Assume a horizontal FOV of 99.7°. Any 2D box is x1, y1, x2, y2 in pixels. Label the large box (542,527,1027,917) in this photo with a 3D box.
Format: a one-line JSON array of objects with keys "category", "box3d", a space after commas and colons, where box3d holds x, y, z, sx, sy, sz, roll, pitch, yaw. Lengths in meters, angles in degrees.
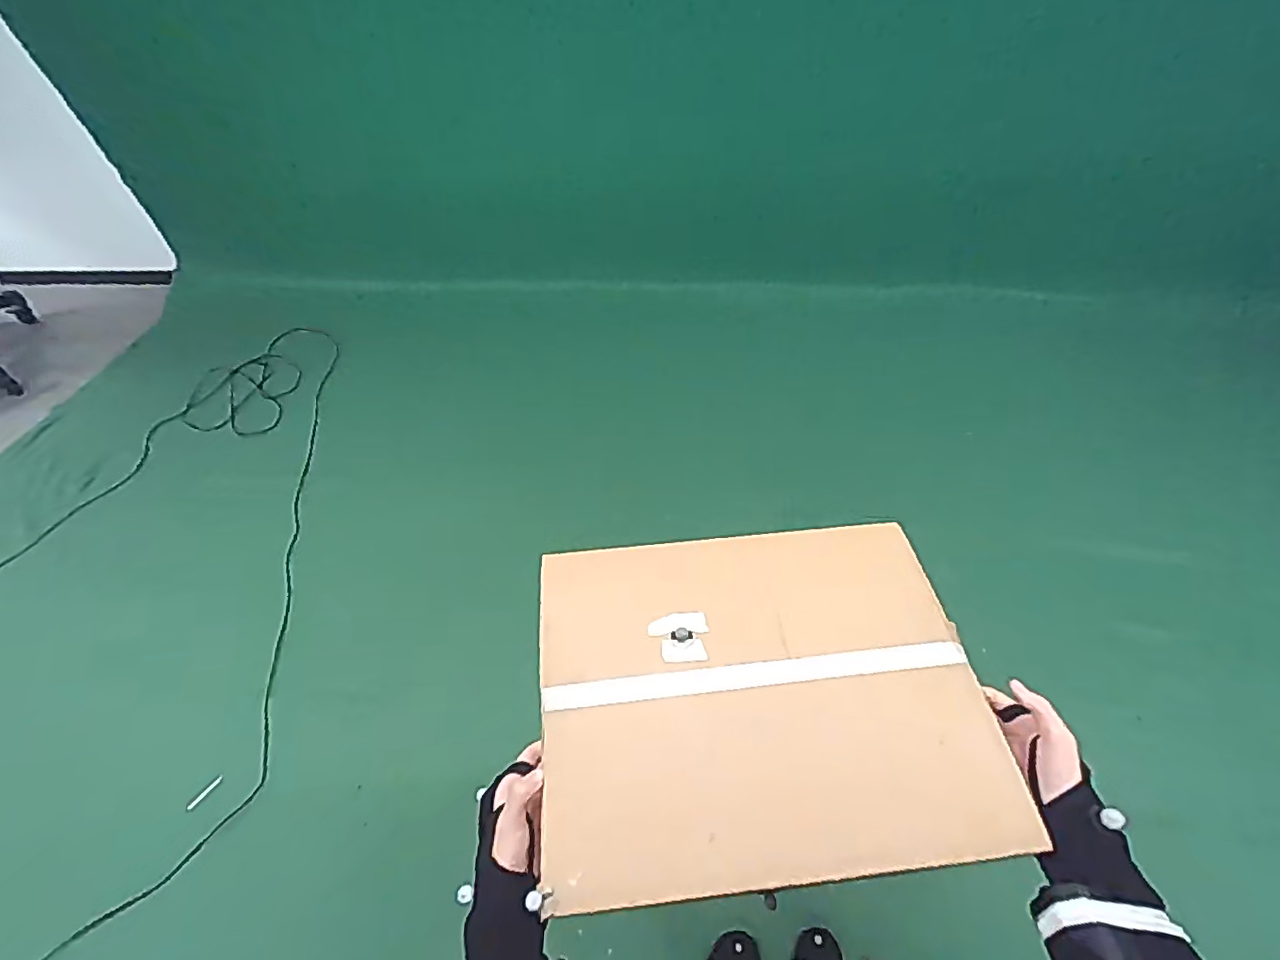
[{"category": "large box", "box3d": [0.112, 0.285, 0.639, 0.408, 0.320, 0.320, -6, 52, -2]}]
